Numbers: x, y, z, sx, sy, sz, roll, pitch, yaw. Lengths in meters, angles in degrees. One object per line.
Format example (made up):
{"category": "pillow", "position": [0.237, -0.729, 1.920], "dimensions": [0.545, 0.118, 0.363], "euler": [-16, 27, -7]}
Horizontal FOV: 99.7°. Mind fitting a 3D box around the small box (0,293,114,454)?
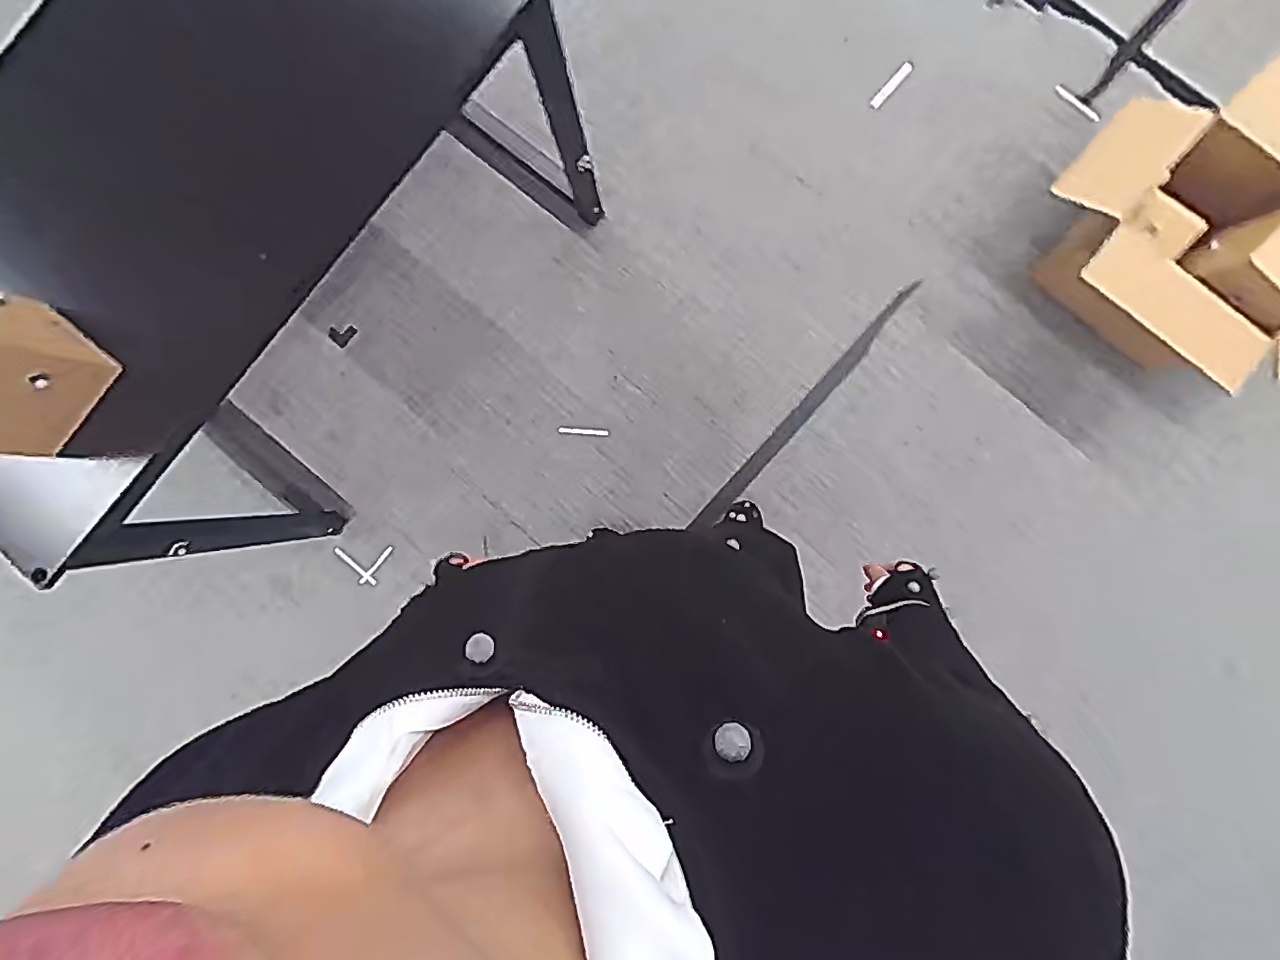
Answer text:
{"category": "small box", "position": [-0.896, -0.153, 0.742], "dimensions": [0.168, 0.176, 0.179], "euler": [38, 92, 4]}
